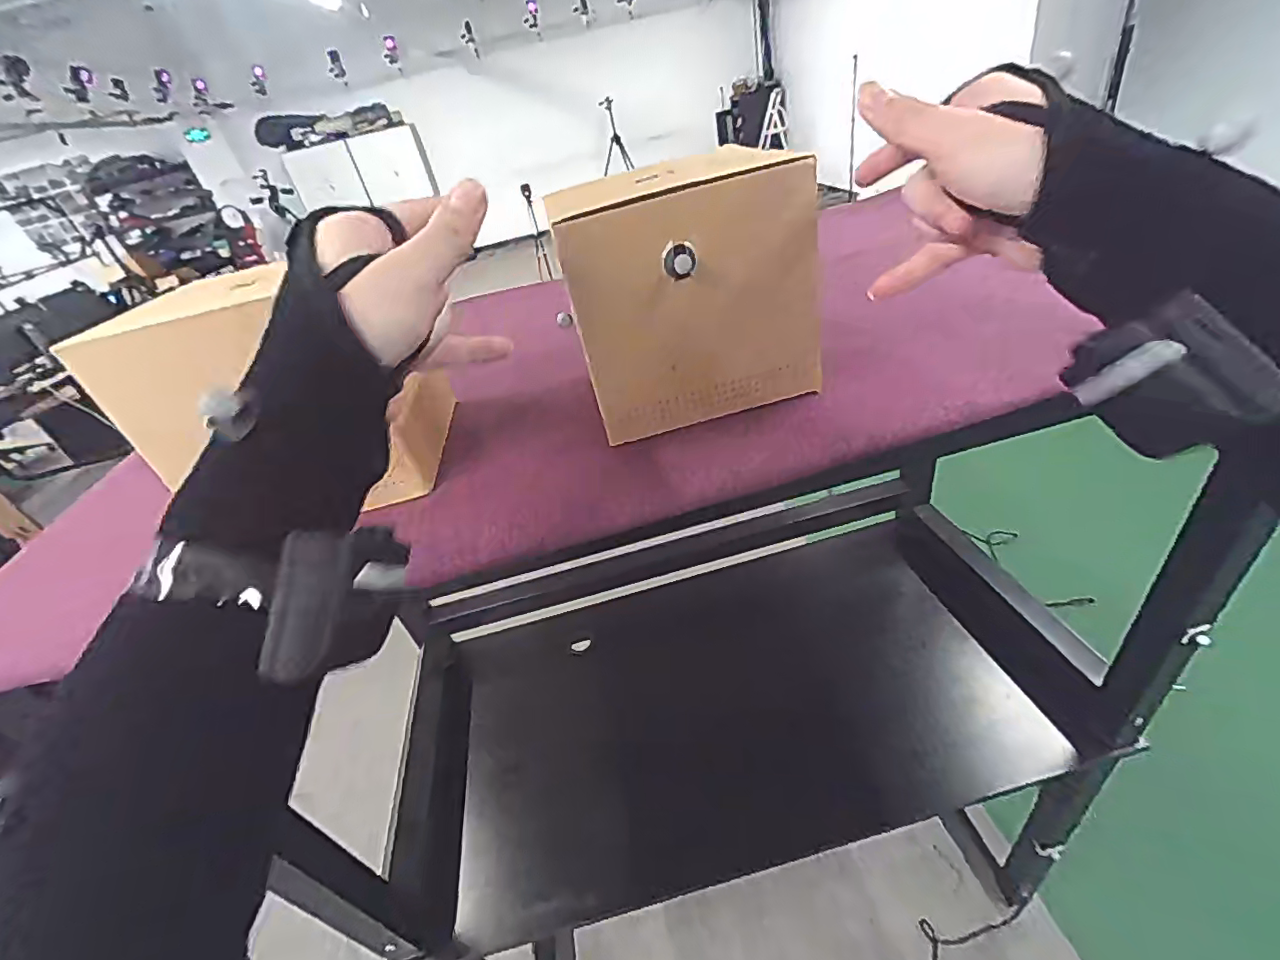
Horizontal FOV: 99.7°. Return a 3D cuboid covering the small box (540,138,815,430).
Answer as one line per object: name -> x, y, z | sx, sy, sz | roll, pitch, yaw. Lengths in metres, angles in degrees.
small box -> 0.029, -0.161, 0.441 | 0.179, 0.176, 0.168 | -15, 35, -1

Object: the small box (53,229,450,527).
small box -> -0.269, -0.081, 0.436 | 0.168, 0.176, 0.179 | -15, 34, -2
